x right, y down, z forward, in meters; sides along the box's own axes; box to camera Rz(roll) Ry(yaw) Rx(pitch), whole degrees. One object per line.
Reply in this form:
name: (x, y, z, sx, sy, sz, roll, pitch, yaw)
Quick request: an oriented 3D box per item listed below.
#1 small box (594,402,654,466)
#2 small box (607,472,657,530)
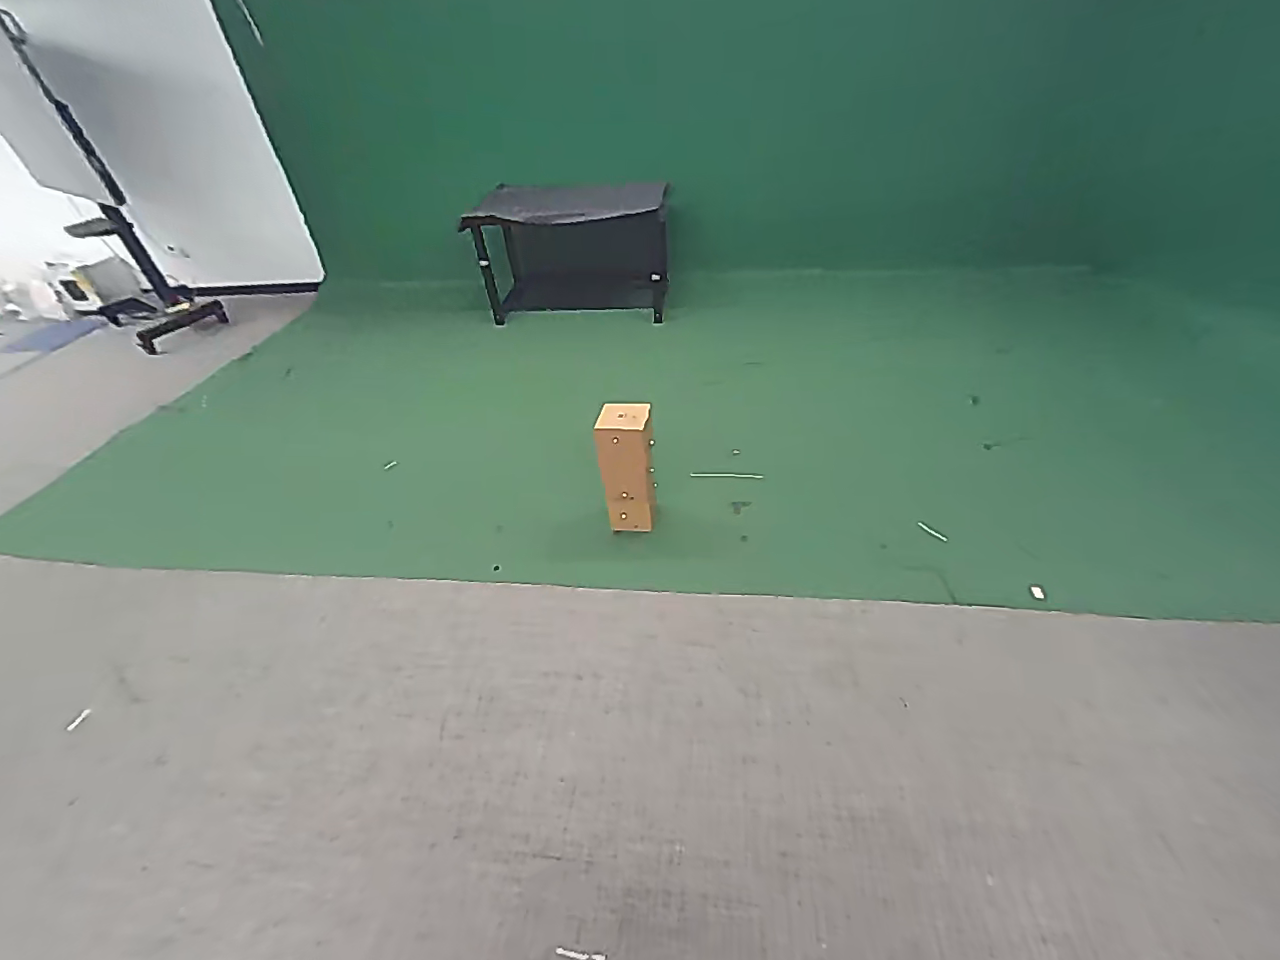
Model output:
small box: (-0.051, -0.163, 1.942, 0.179, 0.176, 0.168, 3, 41, 11)
small box: (-0.027, 0.085, 2.157, 0.168, 0.176, 0.179, 1, 40, 9)
